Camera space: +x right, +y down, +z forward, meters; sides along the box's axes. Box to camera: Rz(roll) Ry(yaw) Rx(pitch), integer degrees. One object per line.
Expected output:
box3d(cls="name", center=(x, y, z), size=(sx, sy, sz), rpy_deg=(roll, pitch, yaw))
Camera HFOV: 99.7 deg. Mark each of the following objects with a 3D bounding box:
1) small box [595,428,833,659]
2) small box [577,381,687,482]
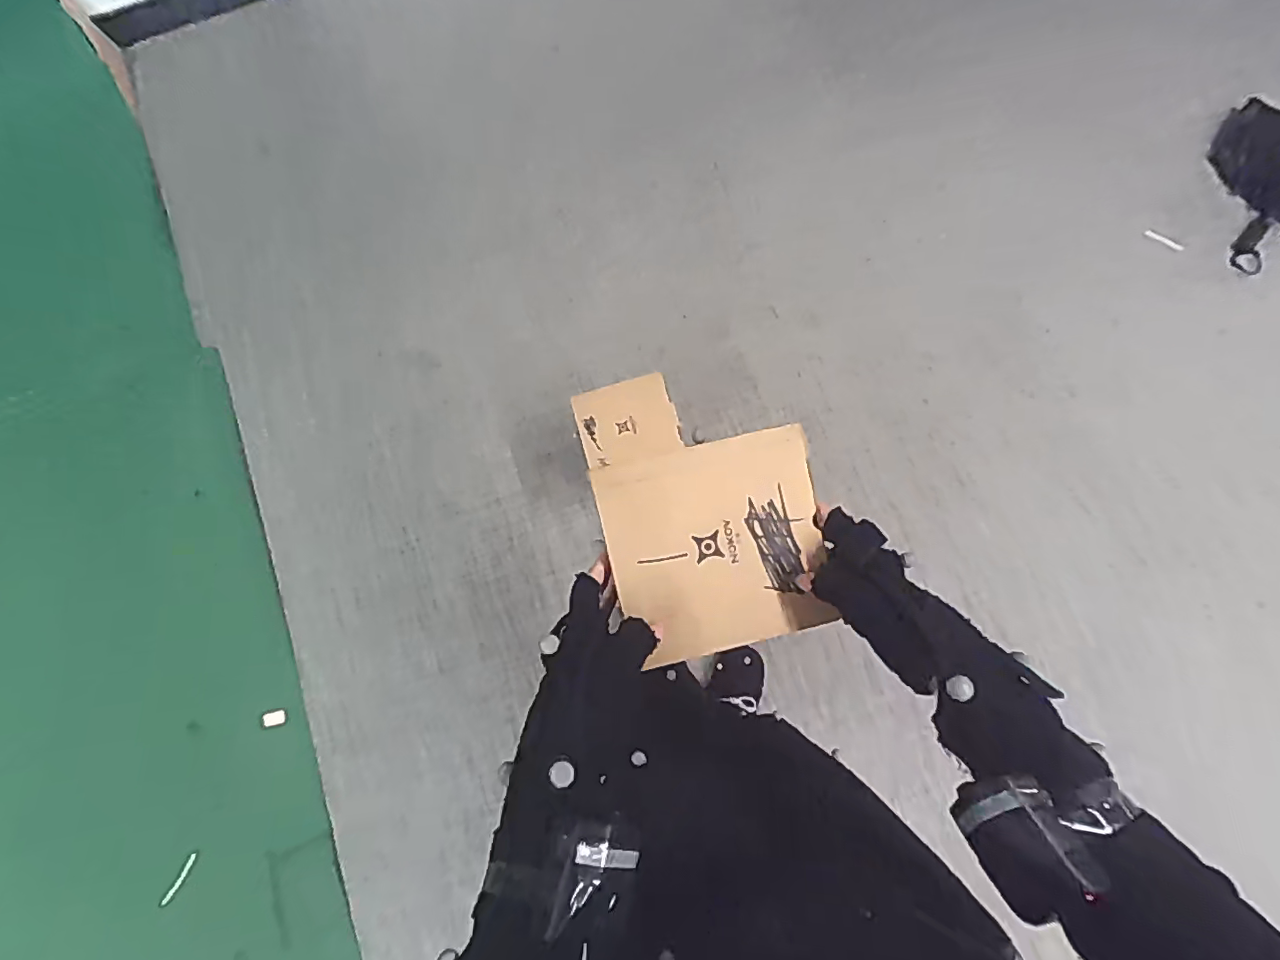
box3d(cls="small box", center=(0.055, 0.051, 0.518), size=(0.179, 0.176, 0.168), rpy_deg=(-11, 89, -4))
box3d(cls="small box", center=(-0.011, -0.072, 1.048), size=(0.179, 0.176, 0.168), rpy_deg=(-15, 81, -1))
